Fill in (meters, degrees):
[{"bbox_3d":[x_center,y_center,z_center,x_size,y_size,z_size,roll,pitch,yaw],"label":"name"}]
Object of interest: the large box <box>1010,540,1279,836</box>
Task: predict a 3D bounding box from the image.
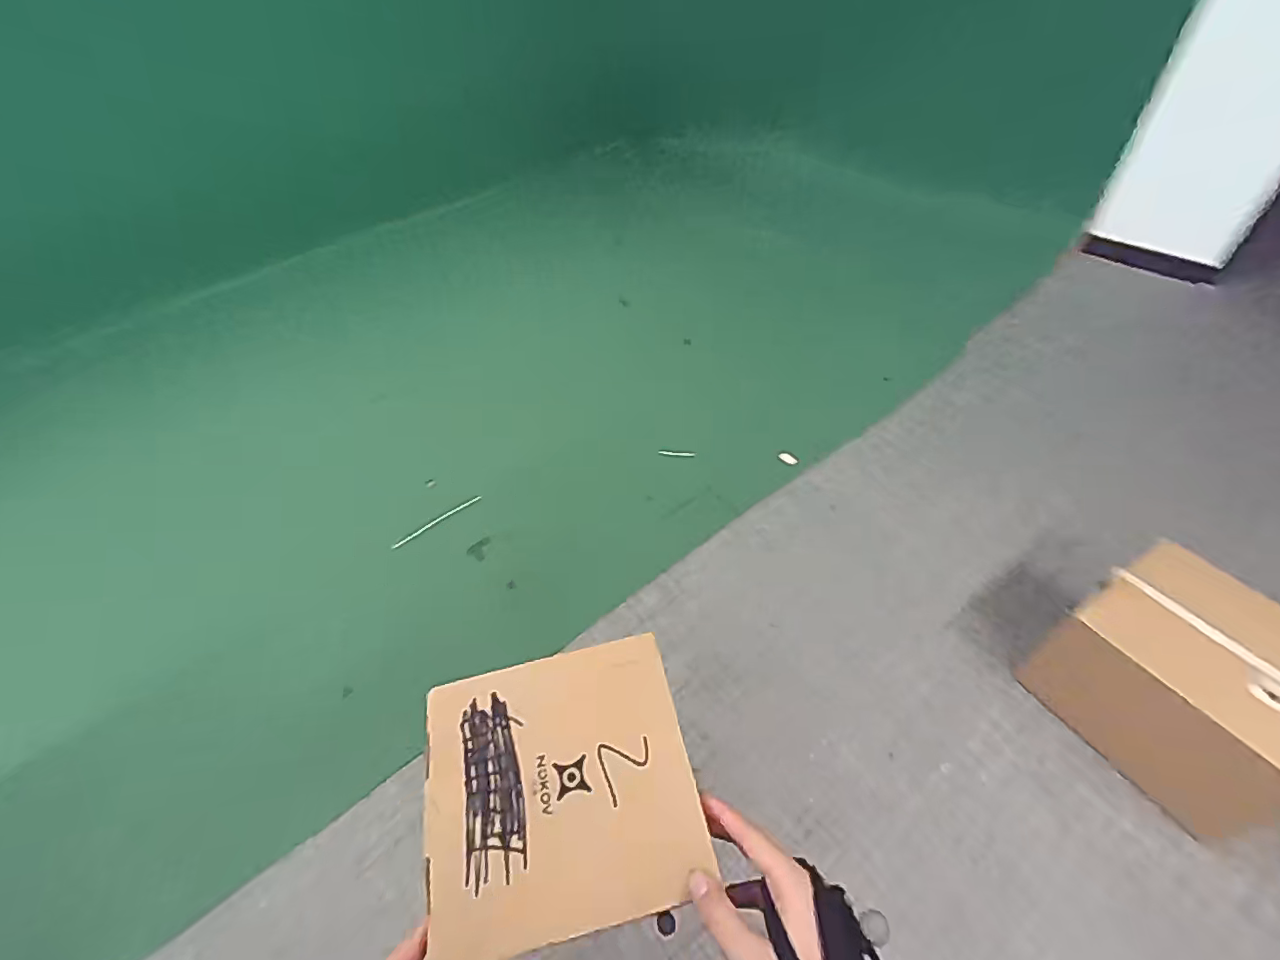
[{"bbox_3d":[1.079,0.406,1.086,0.320,0.320,0.408,-29,52,-16],"label":"large box"}]
